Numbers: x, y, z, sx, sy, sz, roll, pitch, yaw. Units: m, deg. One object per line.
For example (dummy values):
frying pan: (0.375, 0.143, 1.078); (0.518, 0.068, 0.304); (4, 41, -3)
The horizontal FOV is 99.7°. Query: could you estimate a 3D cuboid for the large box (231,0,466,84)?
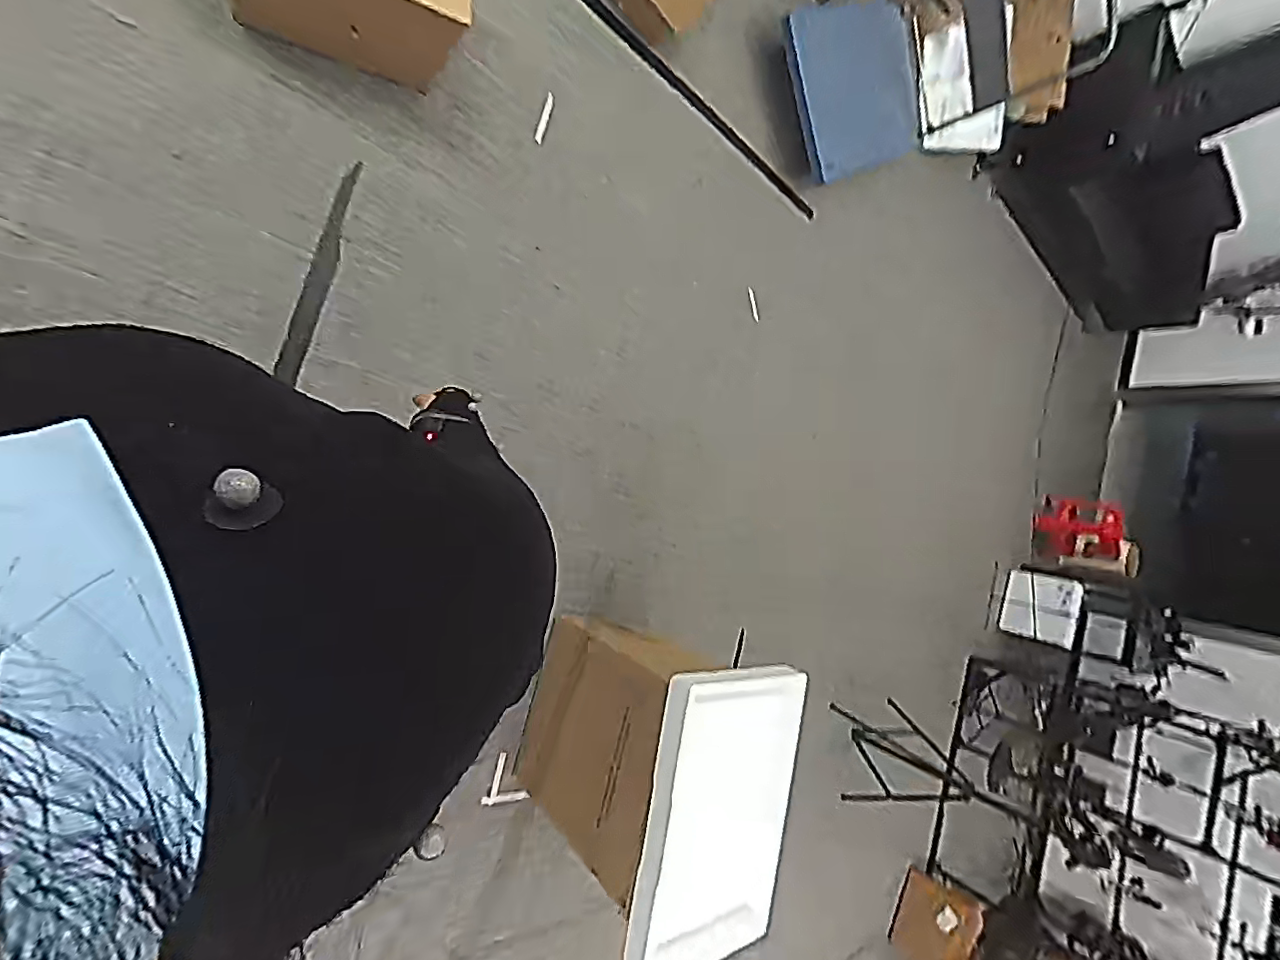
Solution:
large box: (-0.613, -1.121, 1.124); (0.408, 0.320, 0.320); (-5, 97, -36)
